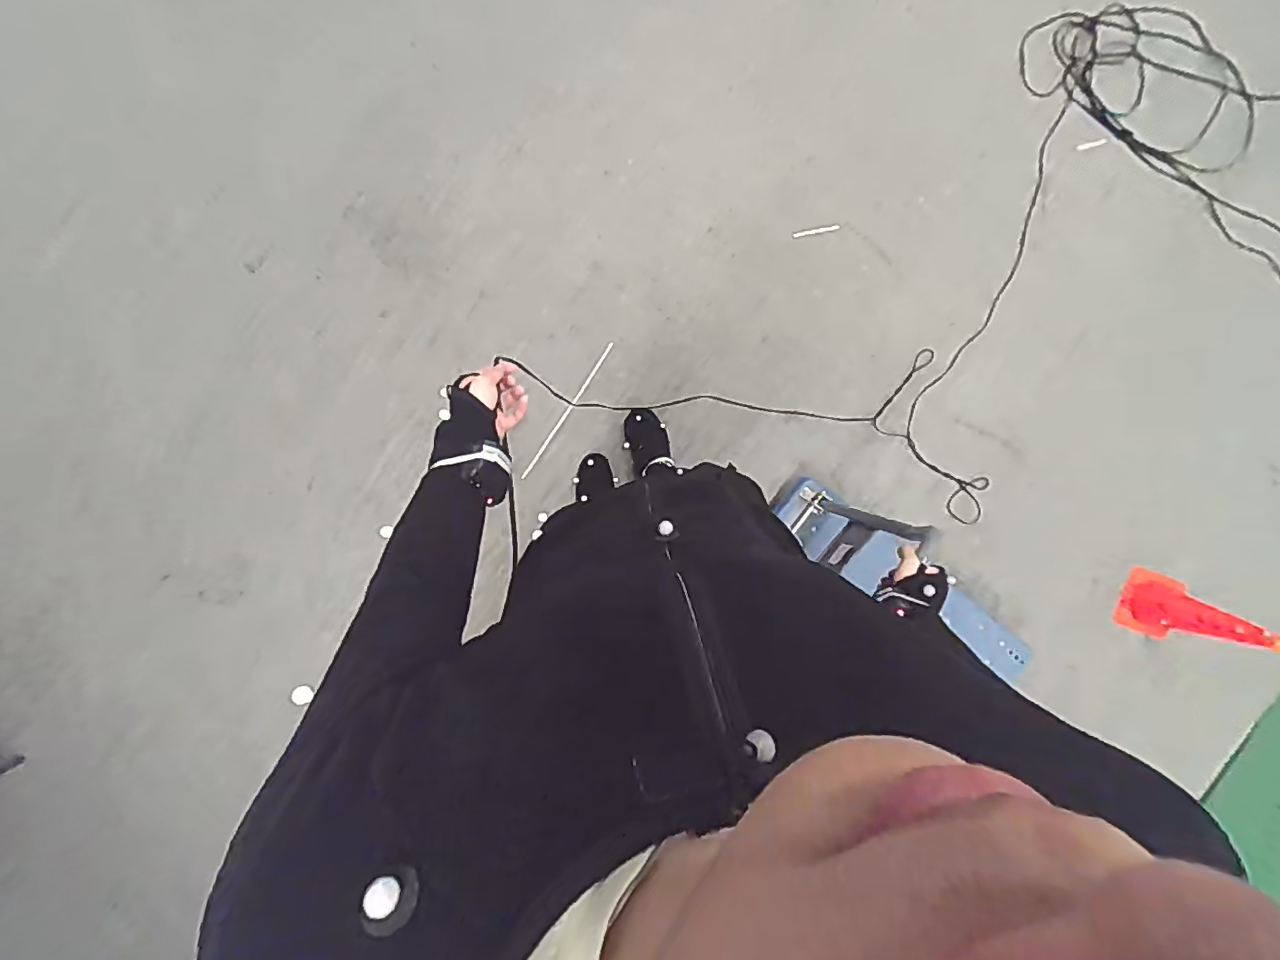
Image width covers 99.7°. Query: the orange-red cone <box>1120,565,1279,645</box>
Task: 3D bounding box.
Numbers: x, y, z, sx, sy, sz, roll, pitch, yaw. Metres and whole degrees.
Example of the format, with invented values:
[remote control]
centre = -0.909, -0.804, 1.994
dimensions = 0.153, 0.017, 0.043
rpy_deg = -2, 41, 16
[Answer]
[orange-red cone]
centre = 1.689, 0.404, 1.591
dimensions = 0.198, 0.360, 0.199
rpy_deg = 20, 92, -6
